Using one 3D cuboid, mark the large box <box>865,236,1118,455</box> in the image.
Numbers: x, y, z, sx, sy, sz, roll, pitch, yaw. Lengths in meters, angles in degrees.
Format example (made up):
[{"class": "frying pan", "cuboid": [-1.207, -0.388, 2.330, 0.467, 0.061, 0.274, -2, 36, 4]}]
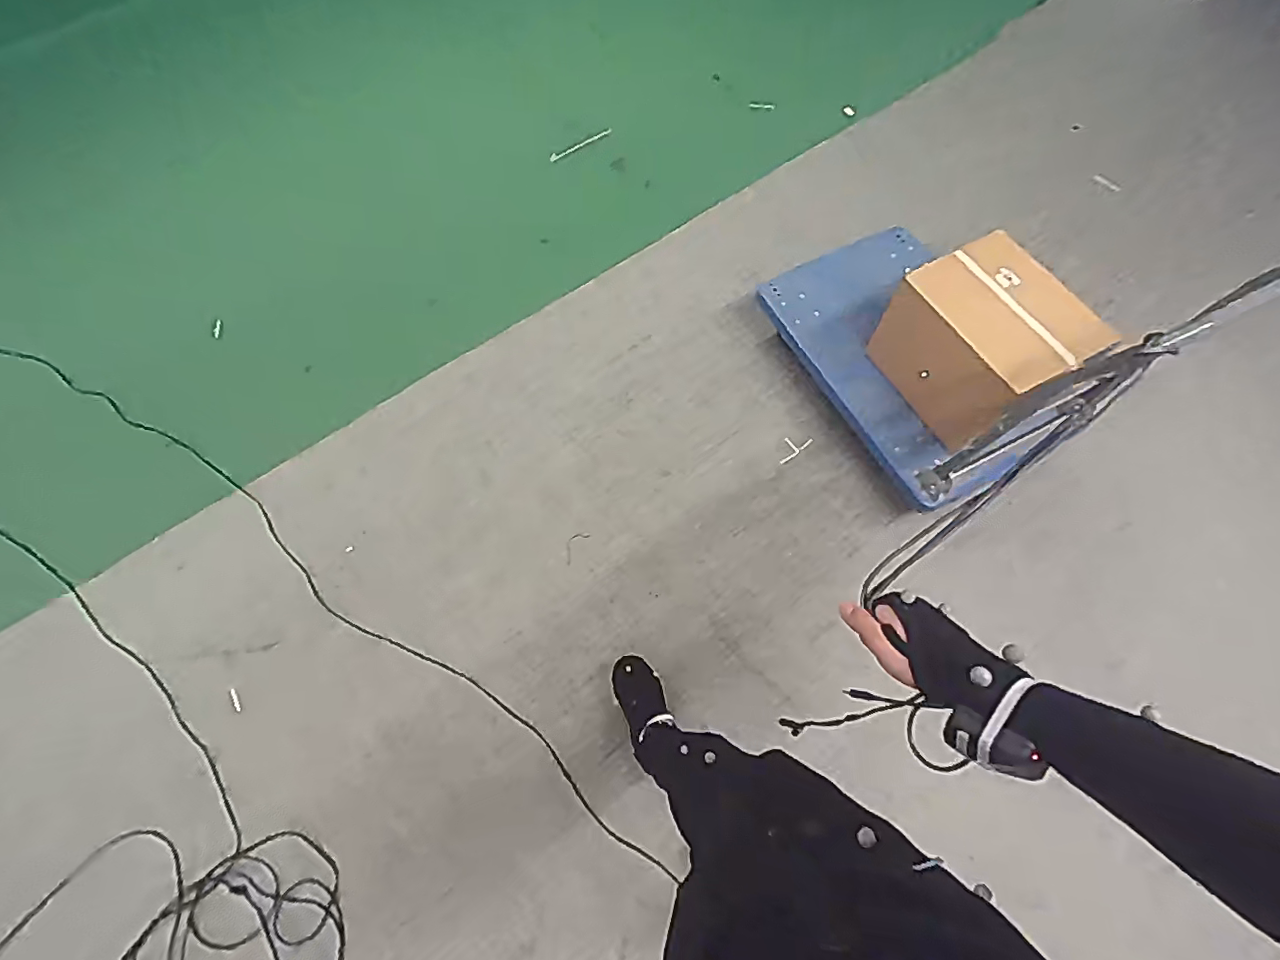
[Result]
[{"class": "large box", "cuboid": [0.884, -0.346, 1.428, 0.320, 0.320, 0.408, -26, 66, -9]}]
